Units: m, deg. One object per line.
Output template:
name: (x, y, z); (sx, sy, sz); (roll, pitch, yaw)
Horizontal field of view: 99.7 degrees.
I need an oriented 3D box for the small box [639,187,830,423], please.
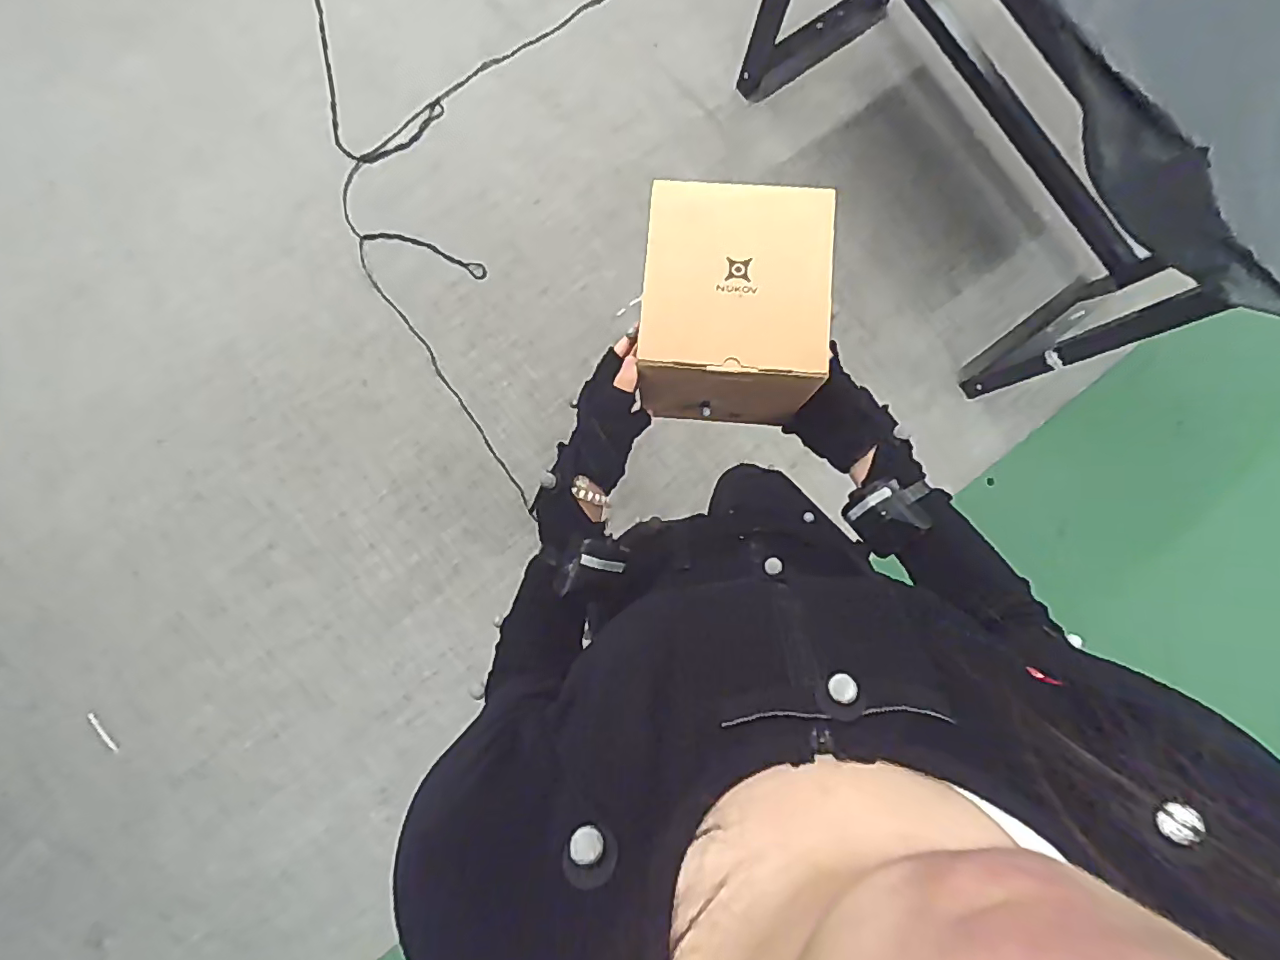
small box: (0.089, -0.170, 0.567); (0.168, 0.176, 0.179); (4, 83, 3)
